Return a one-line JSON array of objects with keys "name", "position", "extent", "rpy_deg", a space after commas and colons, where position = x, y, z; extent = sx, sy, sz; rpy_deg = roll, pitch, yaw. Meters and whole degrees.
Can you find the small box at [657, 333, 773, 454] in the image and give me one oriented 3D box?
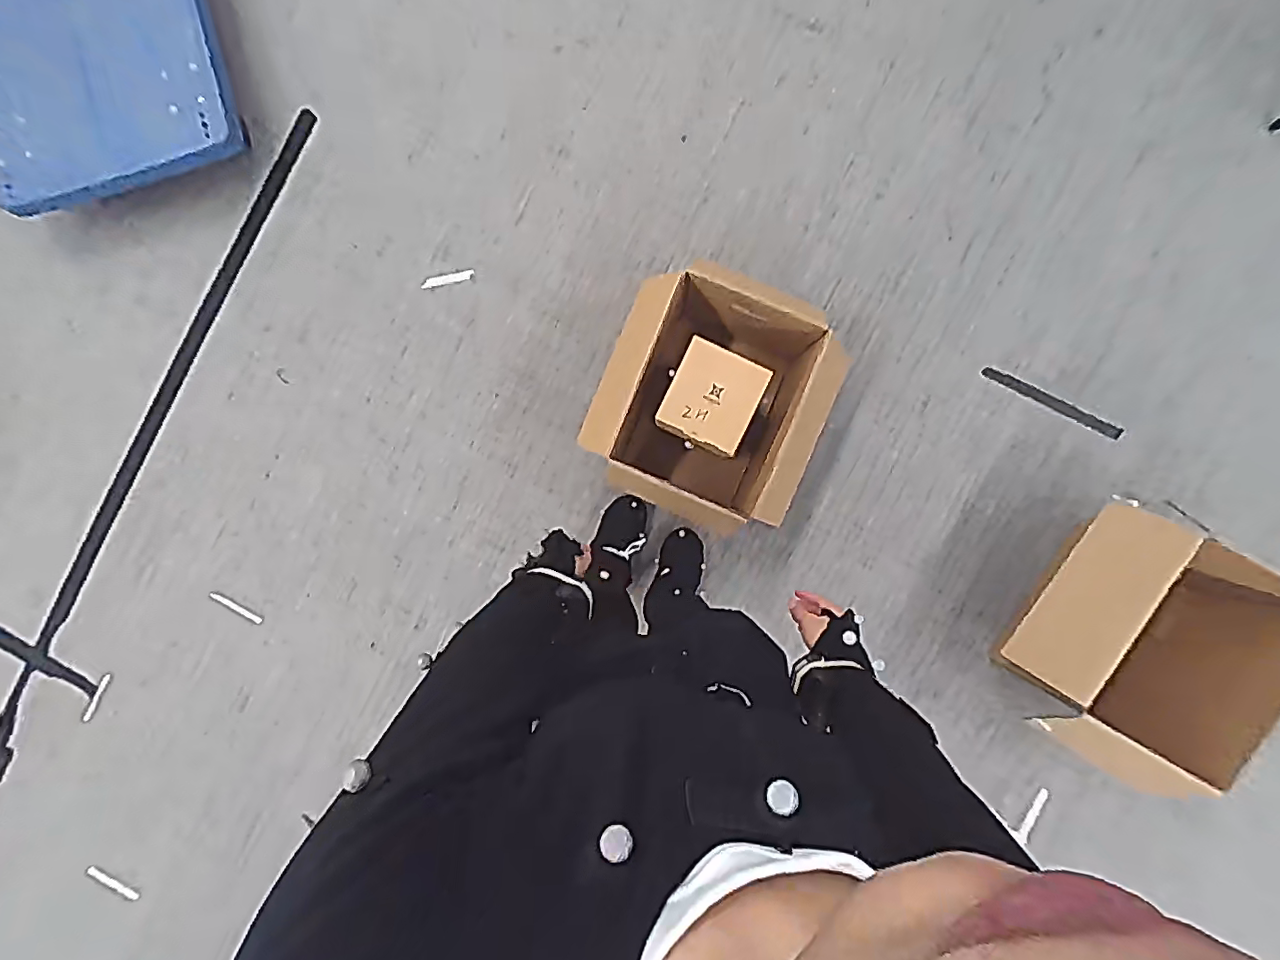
[{"name": "small box", "position": [0.143, -0.166, 1.093], "extent": [0.168, 0.176, 0.179], "rpy_deg": [26, 92, 2]}]
